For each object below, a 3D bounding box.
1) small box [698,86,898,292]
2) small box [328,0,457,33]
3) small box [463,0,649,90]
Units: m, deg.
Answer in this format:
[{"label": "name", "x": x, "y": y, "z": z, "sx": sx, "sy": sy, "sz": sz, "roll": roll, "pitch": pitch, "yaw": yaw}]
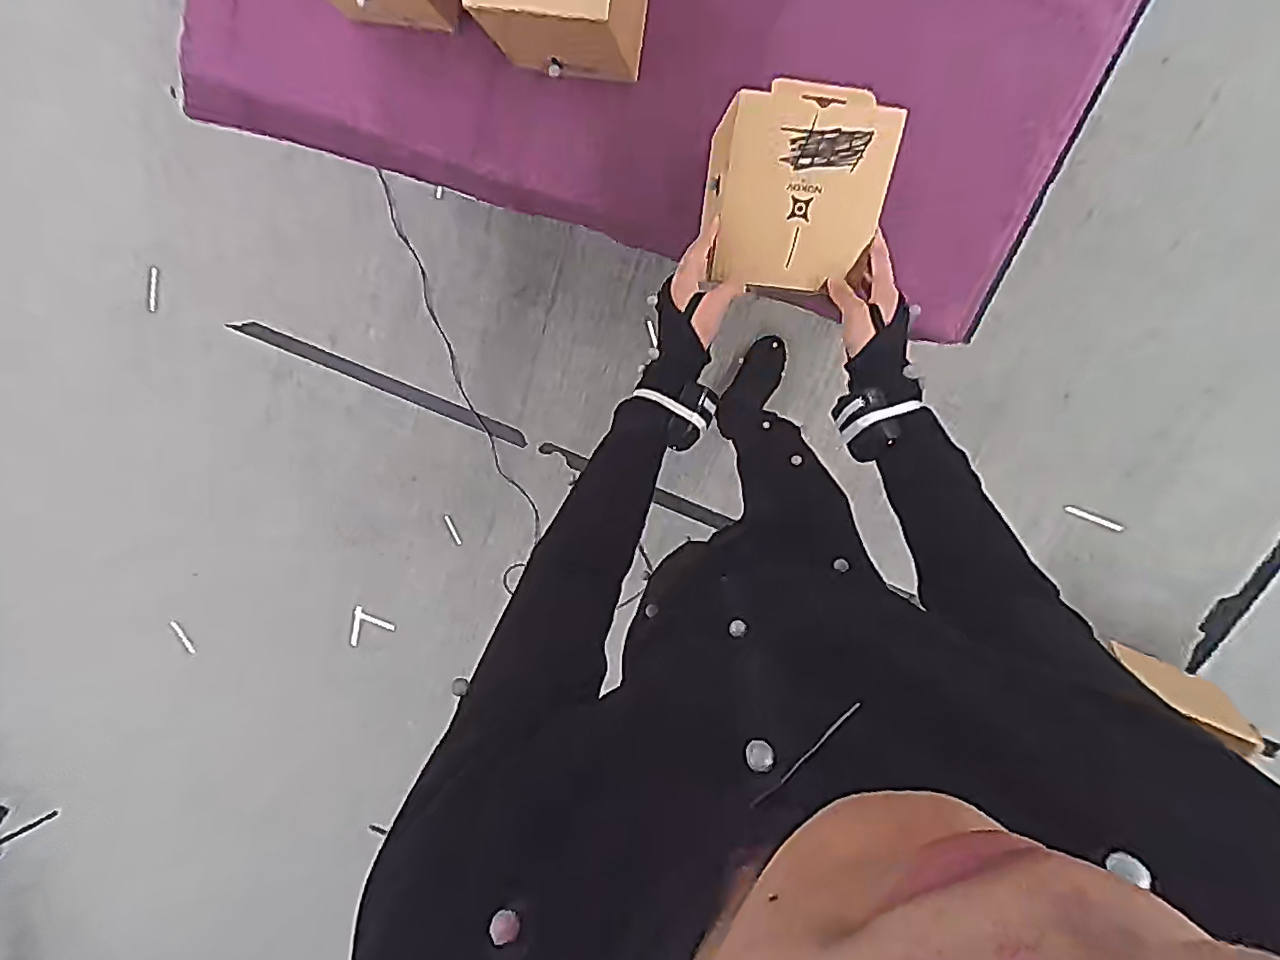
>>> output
[{"label": "small box", "x": 0.165, "y": -0.322, "z": 0.633, "sx": 0.168, "sy": 0.176, "sz": 0.179, "roll": 6, "pitch": 110, "yaw": -3}, {"label": "small box", "x": -0.323, "y": -0.672, "z": 0.635, "sx": 0.168, "sy": 0.176, "sz": 0.179, "roll": 13, "pitch": 108, "yaw": 5}, {"label": "small box", "x": -0.084, "y": -0.590, "z": 0.620, "sx": 0.168, "sy": 0.176, "sz": 0.179, "roll": 12, "pitch": 108, "yaw": 7}]
